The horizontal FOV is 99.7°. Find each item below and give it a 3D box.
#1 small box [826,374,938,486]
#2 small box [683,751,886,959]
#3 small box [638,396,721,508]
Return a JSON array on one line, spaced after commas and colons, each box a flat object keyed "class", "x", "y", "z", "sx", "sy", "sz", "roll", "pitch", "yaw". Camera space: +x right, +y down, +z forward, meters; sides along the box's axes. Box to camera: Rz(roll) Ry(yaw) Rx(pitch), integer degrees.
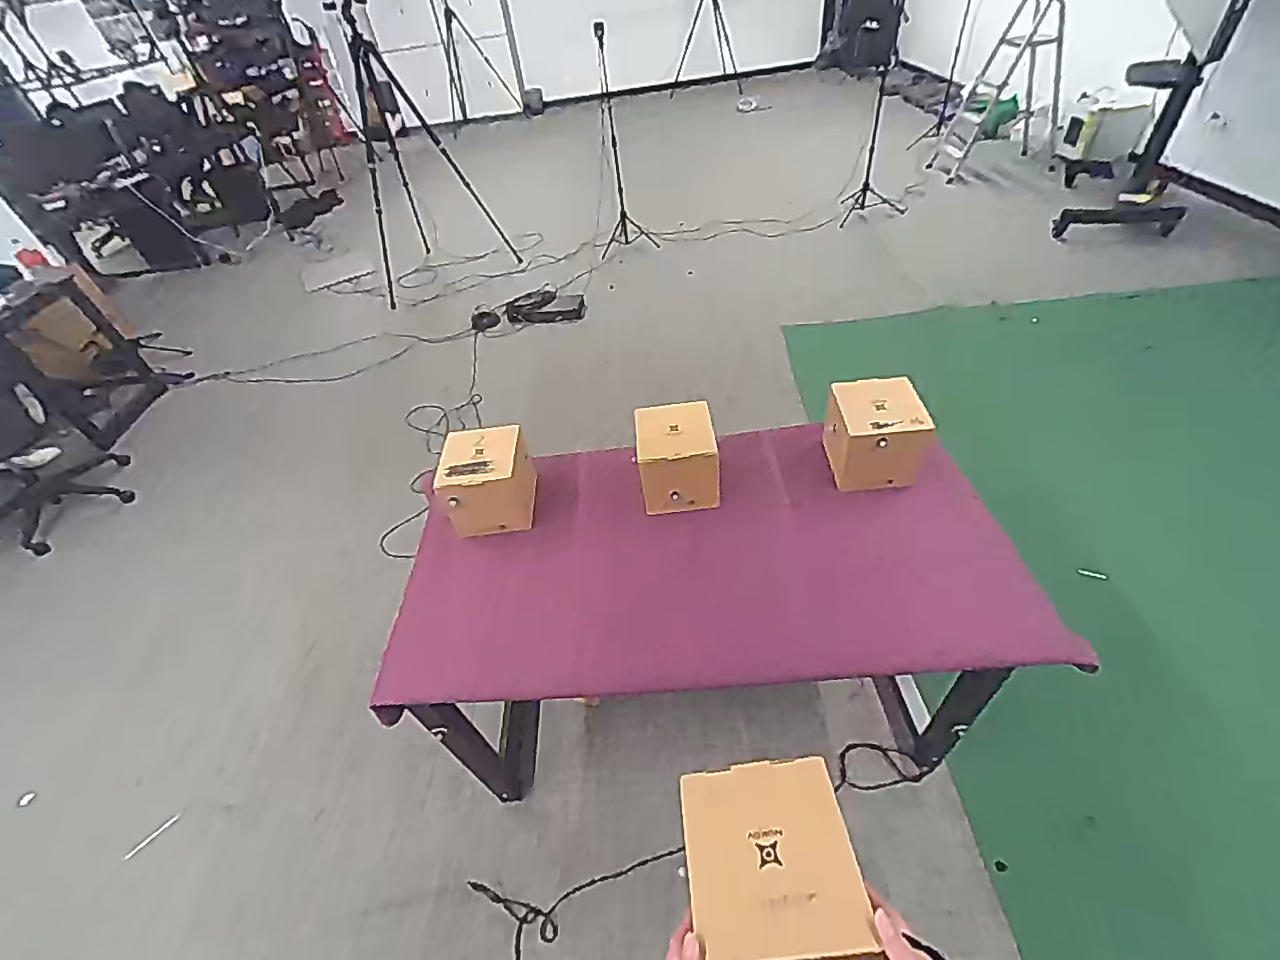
[{"class": "small box", "x": 0.512, "y": -0.107, "z": 1.175, "sx": 0.168, "sy": 0.176, "sz": 0.179, "roll": -5, "pitch": 46, "yaw": 6}, {"class": "small box", "x": 0.142, "y": 0.426, "z": 0.580, "sx": 0.168, "sy": 0.176, "sz": 0.179, "roll": -9, "pitch": 34, "yaw": 4}, {"class": "small box", "x": 0.086, "y": -0.061, "z": 1.200, "sx": 0.168, "sy": 0.176, "sz": 0.179, "roll": -6, "pitch": 46, "yaw": 2}]
